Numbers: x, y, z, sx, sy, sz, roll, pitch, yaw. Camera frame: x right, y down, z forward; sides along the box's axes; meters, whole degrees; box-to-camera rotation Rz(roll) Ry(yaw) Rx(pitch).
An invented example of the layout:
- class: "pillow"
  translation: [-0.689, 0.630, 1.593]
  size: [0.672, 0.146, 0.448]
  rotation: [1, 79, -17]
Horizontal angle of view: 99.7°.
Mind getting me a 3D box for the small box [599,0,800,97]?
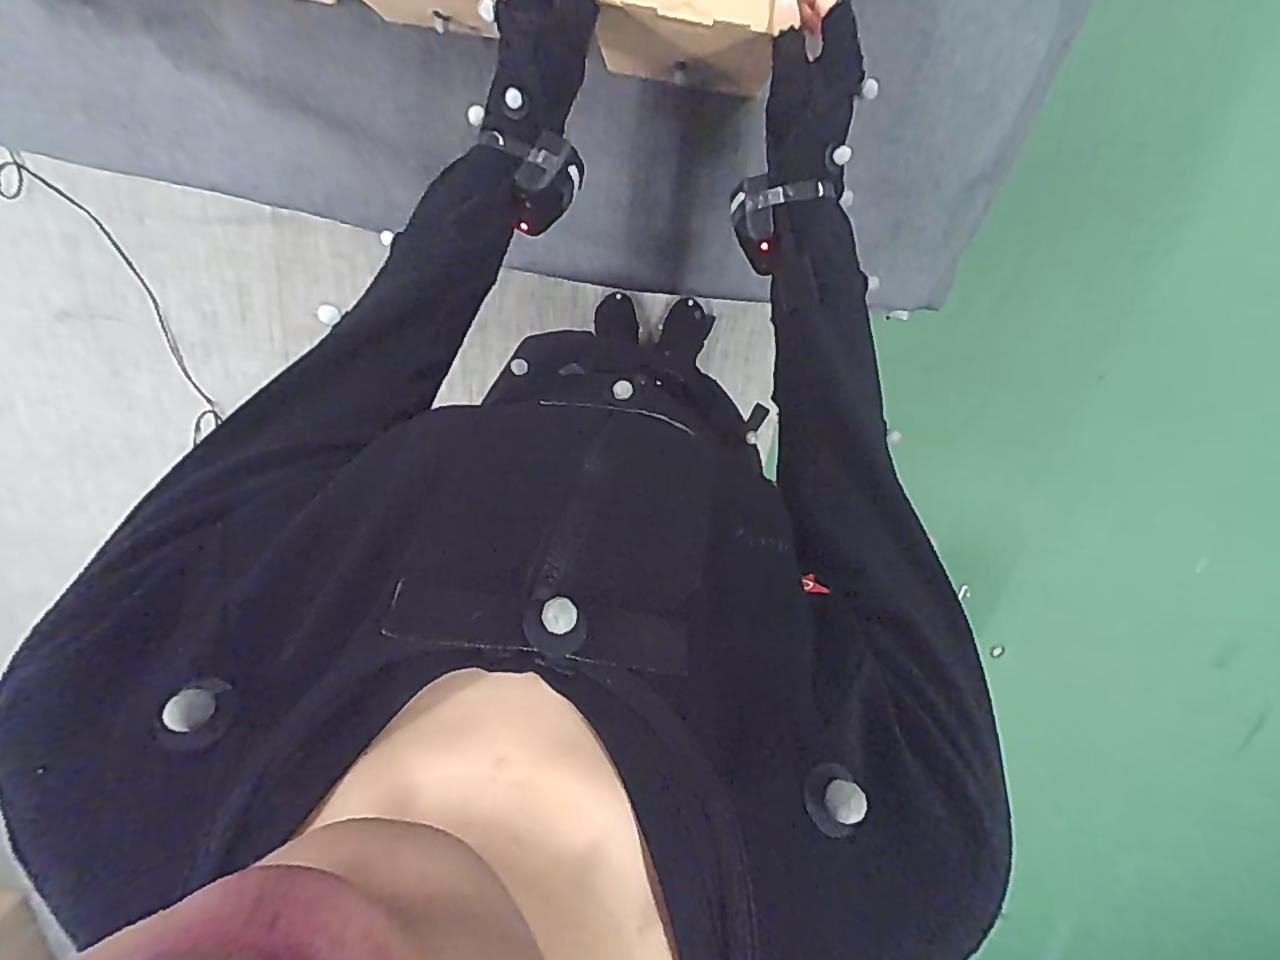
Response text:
- class: "small box"
  translation: [0.059, -0.470, 0.467]
  size: [0.168, 0.176, 0.179]
  rotation: [11, 111, 1]
